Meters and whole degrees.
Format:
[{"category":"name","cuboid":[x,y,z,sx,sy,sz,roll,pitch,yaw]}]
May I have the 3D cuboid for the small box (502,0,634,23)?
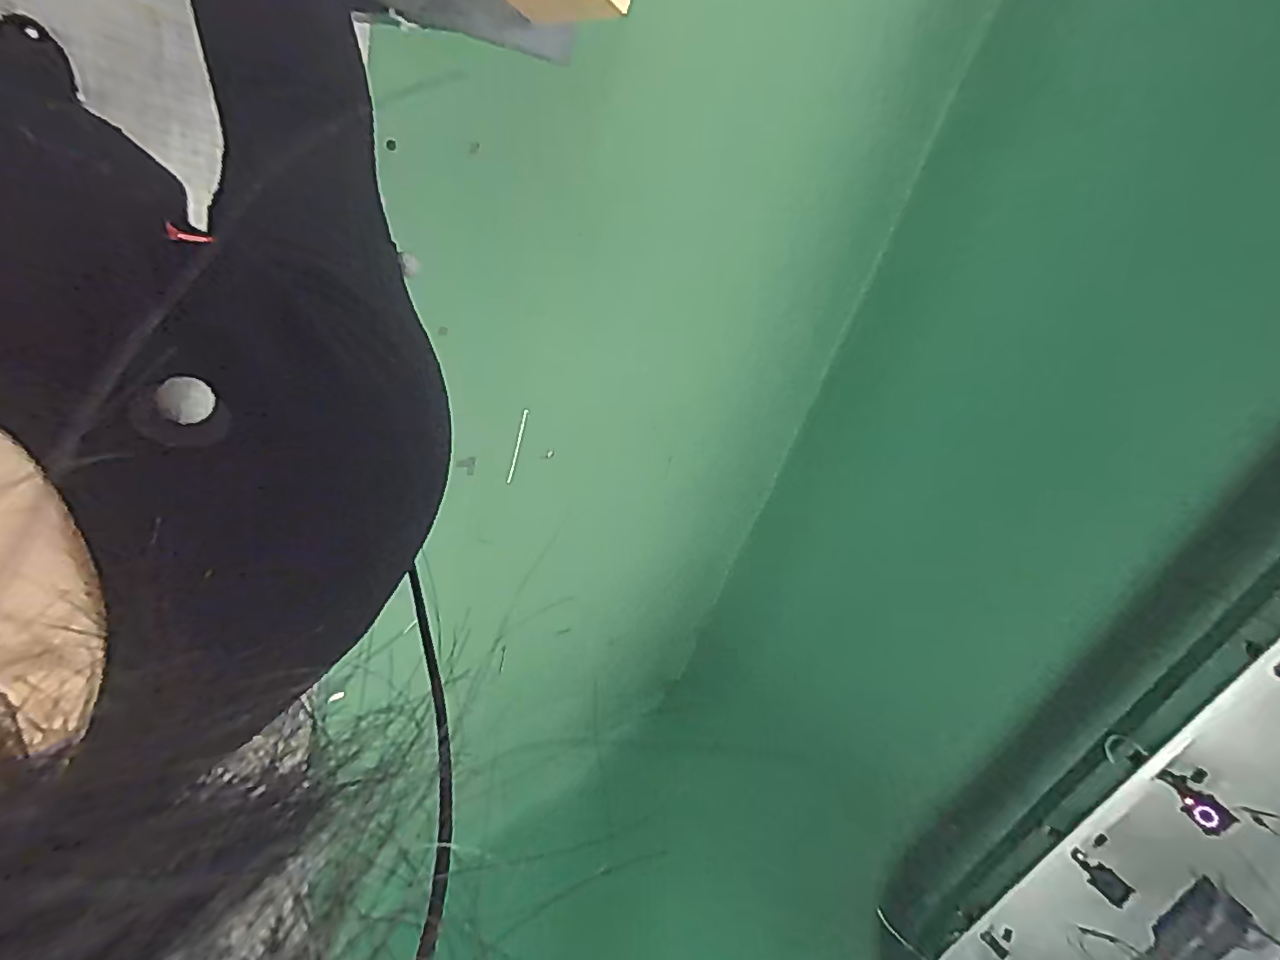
[{"category":"small box","cuboid":[-0.102,-0.610,0.555,0.179,0.176,0.168,-3,117,-50]}]
